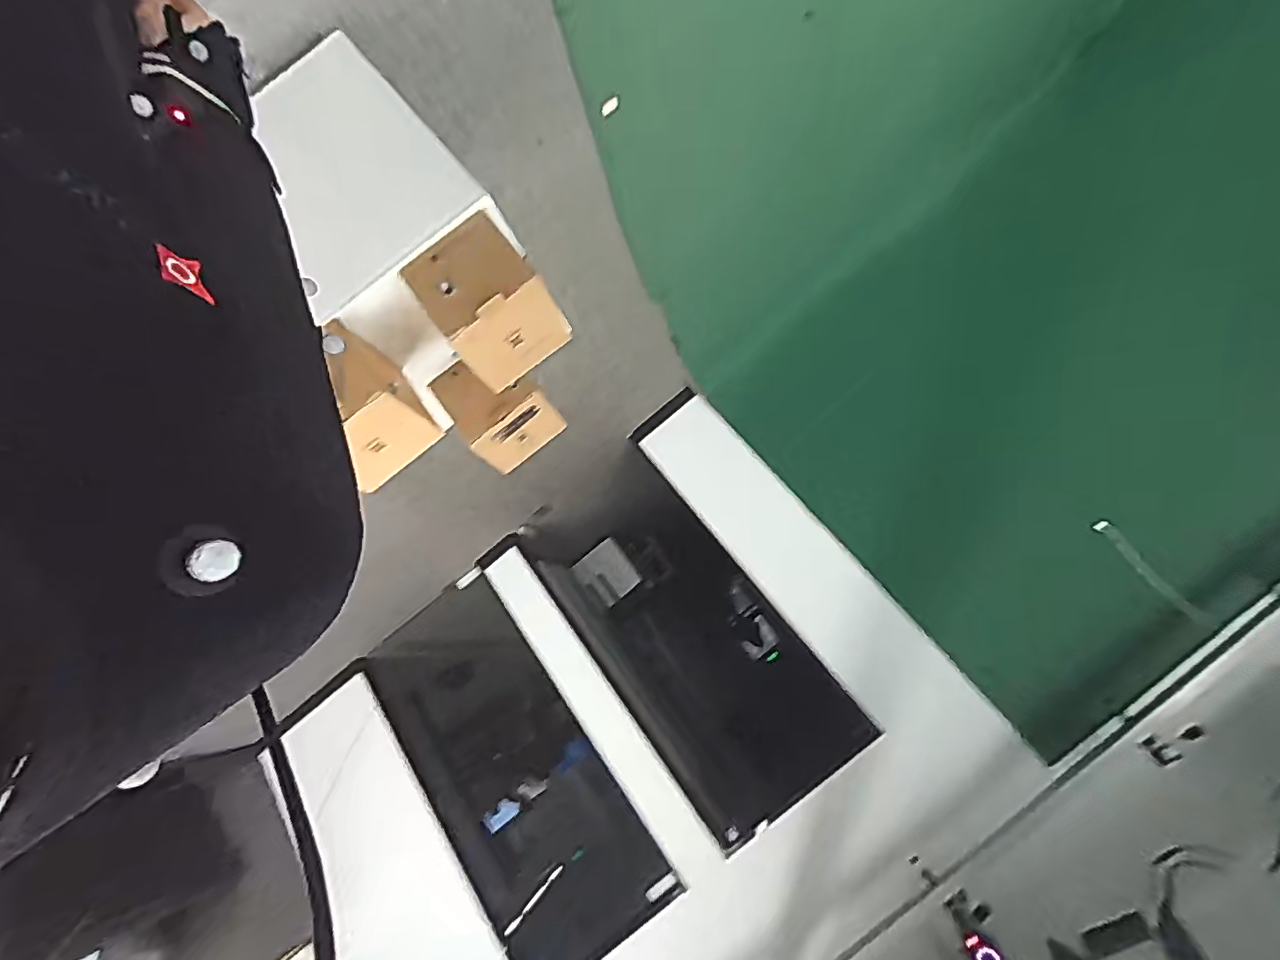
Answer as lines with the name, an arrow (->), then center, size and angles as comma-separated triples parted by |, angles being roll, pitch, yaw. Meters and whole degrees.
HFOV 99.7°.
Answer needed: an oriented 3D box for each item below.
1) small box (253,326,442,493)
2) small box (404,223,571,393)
small box -> -0.460, -0.110, 0.865 | 0.168, 0.176, 0.179 | -38, 161, -2
small box -> -0.243, -0.281, 0.876 | 0.168, 0.176, 0.179 | -37, 162, -2
